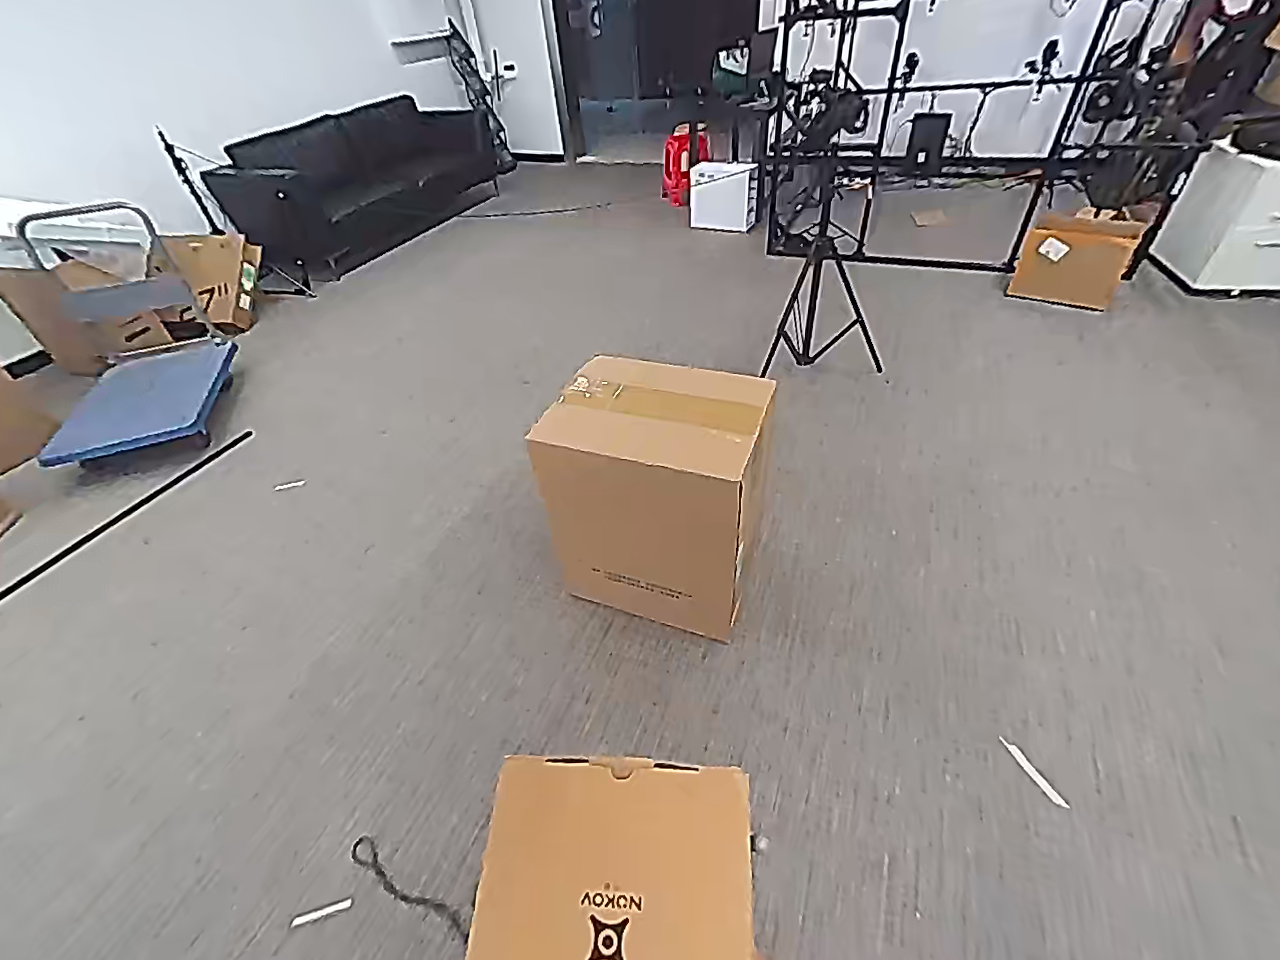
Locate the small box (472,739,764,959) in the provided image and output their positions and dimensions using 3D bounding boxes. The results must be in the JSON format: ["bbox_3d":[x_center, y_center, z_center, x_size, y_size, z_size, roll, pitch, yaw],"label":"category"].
[{"bbox_3d":[-0.003,0.292,0.374,0.168,0.176,0.179,-1,54,6],"label":"small box"}]
